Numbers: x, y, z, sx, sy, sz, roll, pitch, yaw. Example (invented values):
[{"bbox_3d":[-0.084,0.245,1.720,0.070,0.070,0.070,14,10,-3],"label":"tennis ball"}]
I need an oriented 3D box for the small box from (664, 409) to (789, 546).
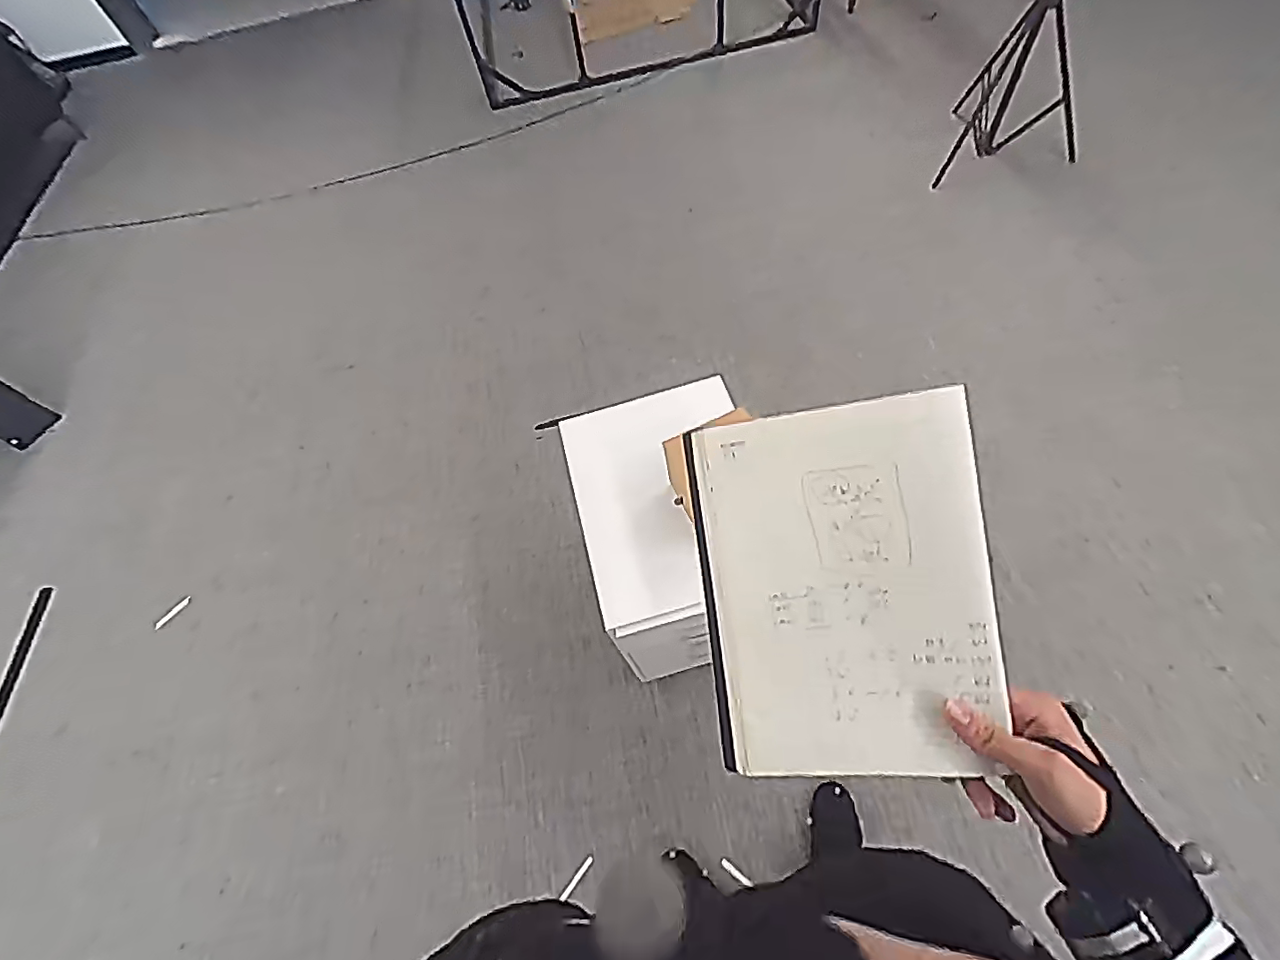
[{"bbox_3d":[0.161,0.000,1.041,0.179,0.176,0.168,-24,59,-5],"label":"small box"}]
